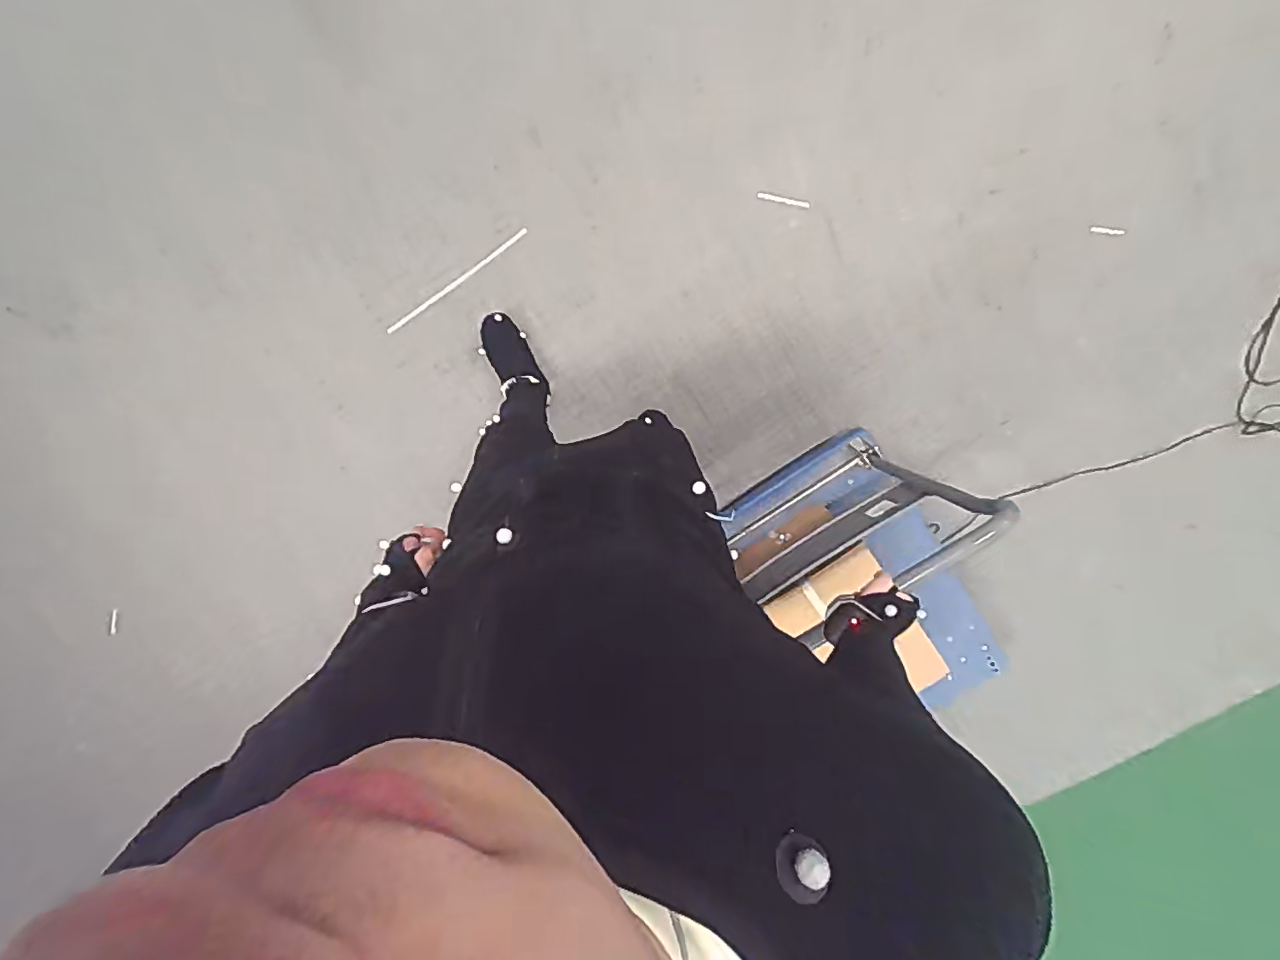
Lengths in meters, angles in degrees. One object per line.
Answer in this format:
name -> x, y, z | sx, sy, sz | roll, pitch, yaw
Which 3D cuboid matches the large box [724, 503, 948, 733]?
large box -> 0.472, 0.330, 1.375 | 0.320, 0.320, 0.408 | -36, 102, 8
